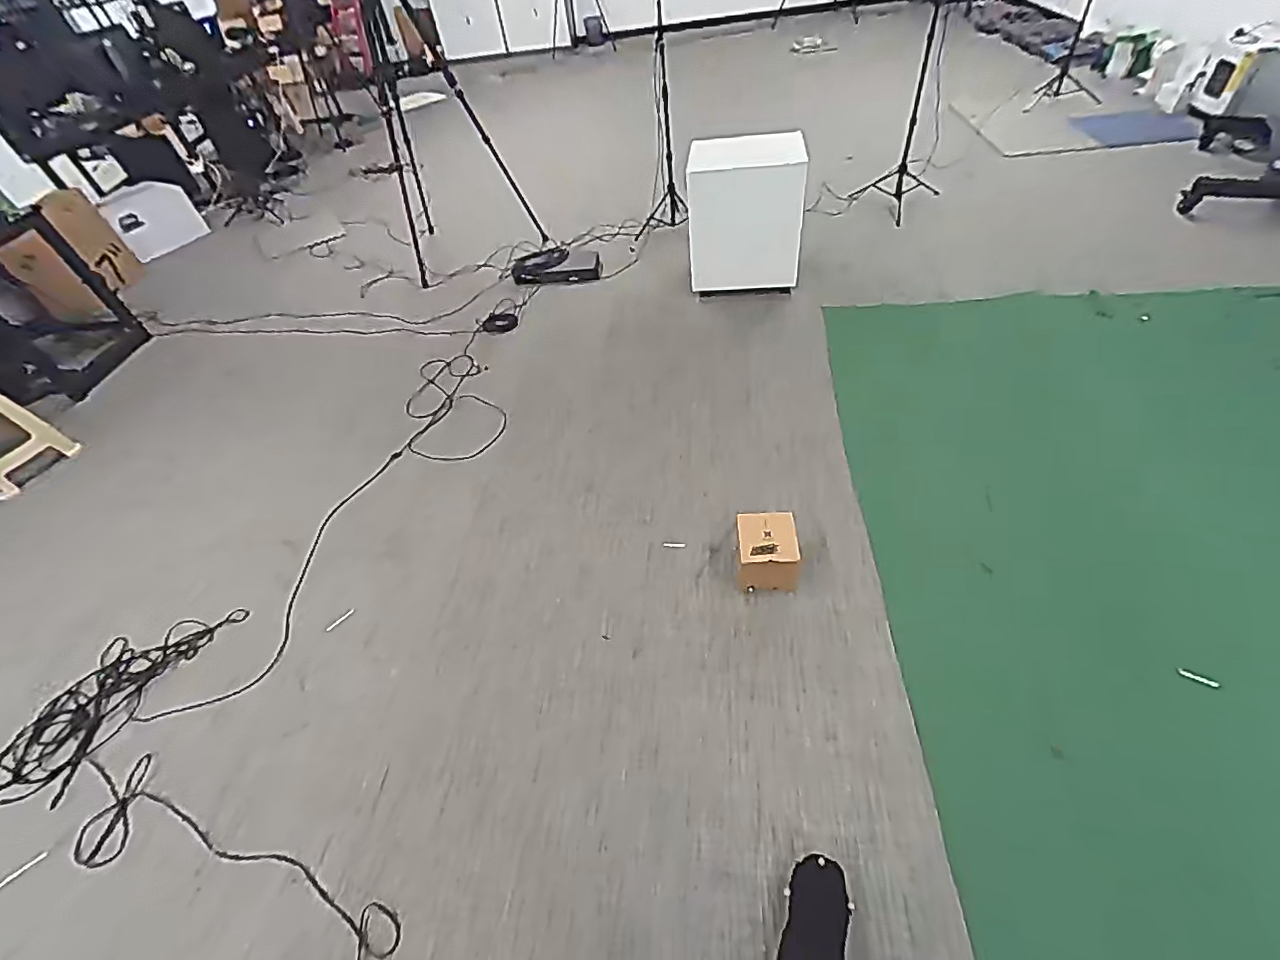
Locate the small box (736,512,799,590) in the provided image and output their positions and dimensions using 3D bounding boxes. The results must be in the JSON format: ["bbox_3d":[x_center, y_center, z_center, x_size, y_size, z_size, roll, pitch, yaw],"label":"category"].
[{"bbox_3d":[0.374,0.216,1.613,0.168,0.176,0.179,-2,48,7],"label":"small box"}]
